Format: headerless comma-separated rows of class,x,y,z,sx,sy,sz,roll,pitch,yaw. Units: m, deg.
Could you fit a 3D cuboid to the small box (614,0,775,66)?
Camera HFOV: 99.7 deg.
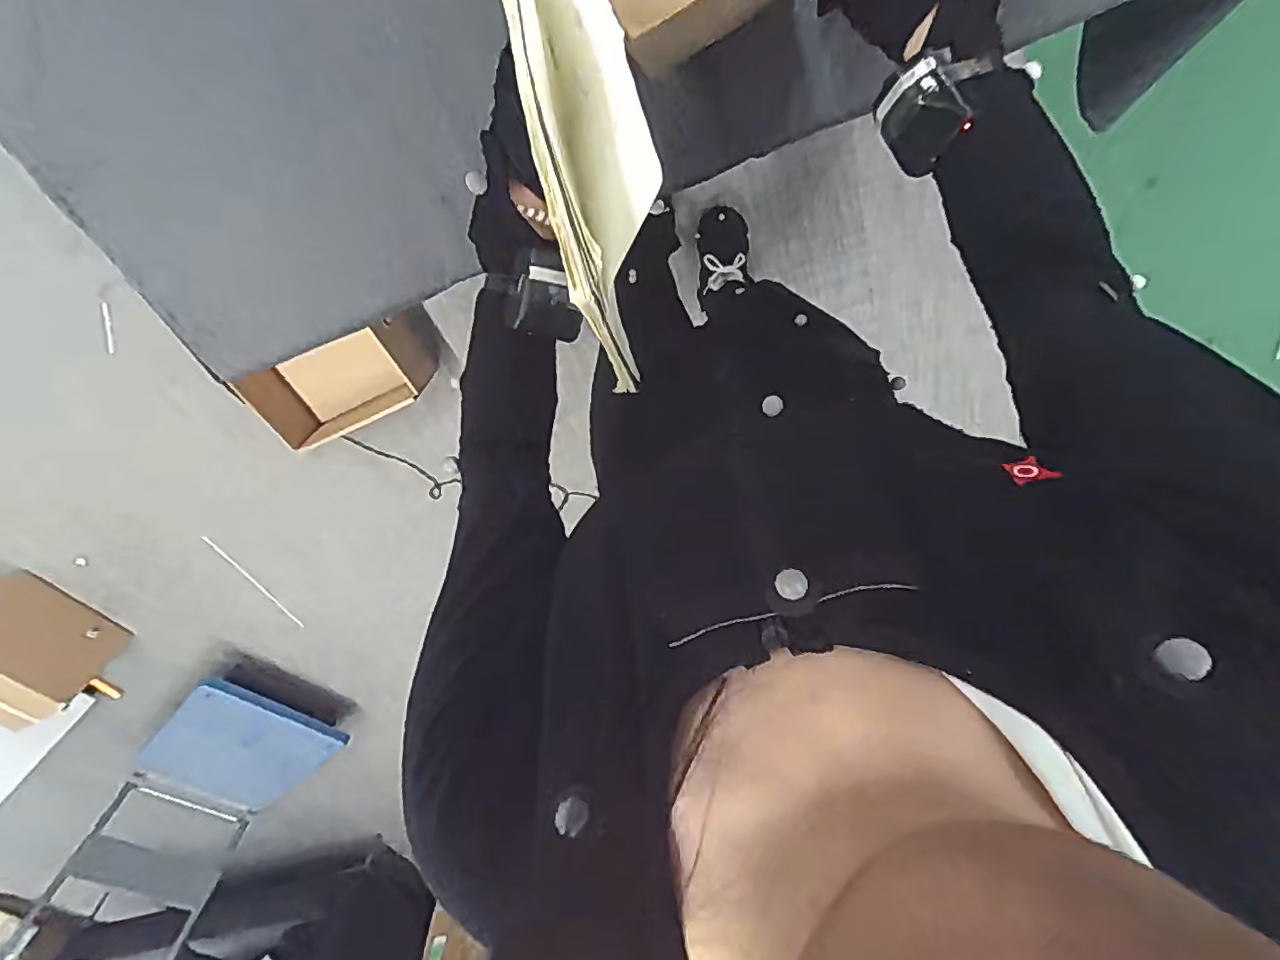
small box,0.044,-0.421,0.360,0.179,0.176,0.168,-20,114,19
